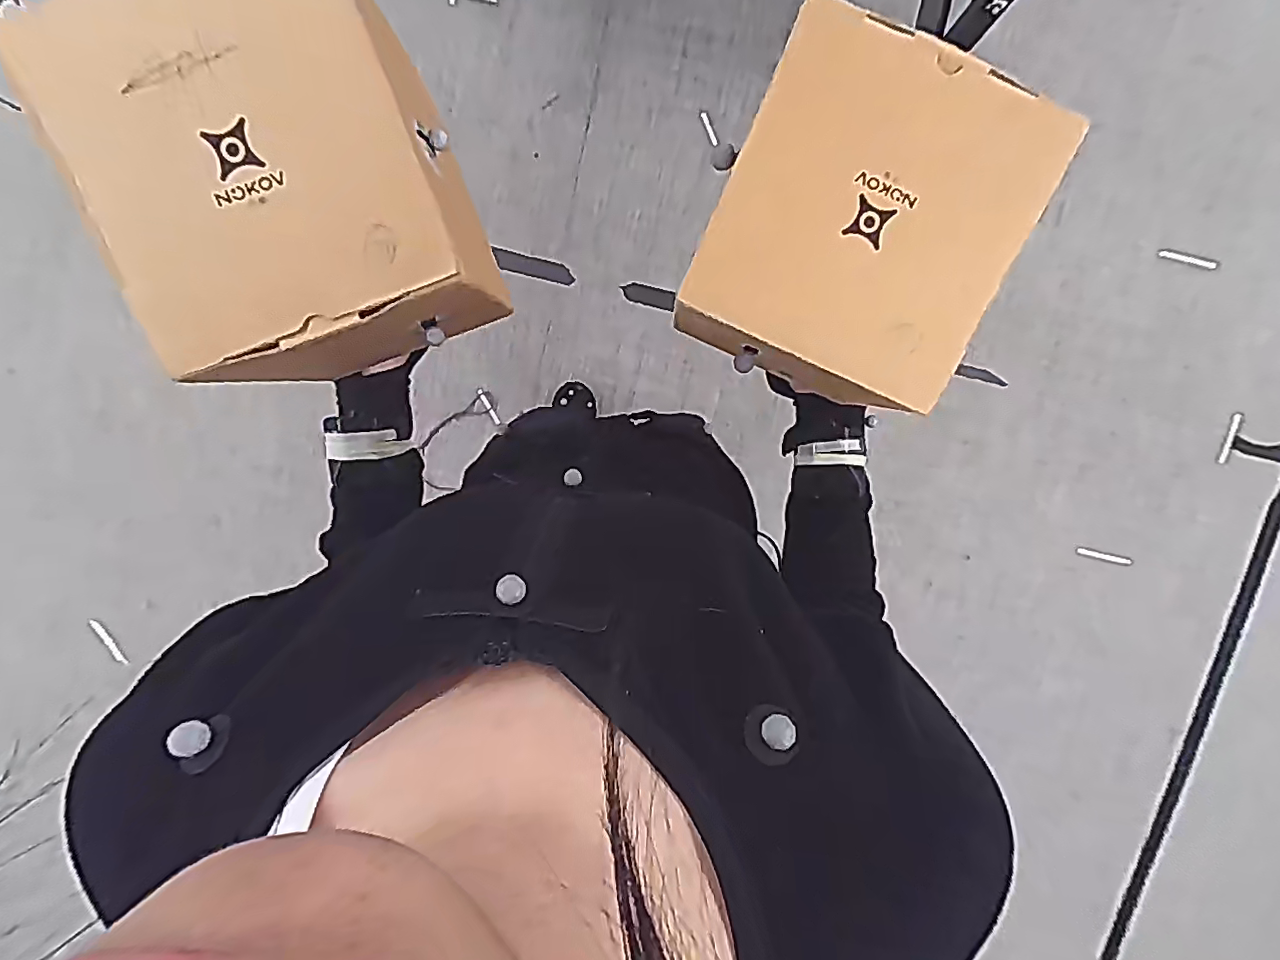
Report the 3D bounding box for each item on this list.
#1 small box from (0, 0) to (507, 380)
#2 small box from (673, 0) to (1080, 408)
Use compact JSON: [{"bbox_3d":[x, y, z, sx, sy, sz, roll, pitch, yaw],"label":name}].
[{"bbox_3d":[-0.200,-0.174,0.344,0.168,0.176,0.179,-21,101,-1],"label":"small box"},{"bbox_3d":[0.133,-0.163,0.380,0.168,0.176,0.179,24,99,-1],"label":"small box"}]
